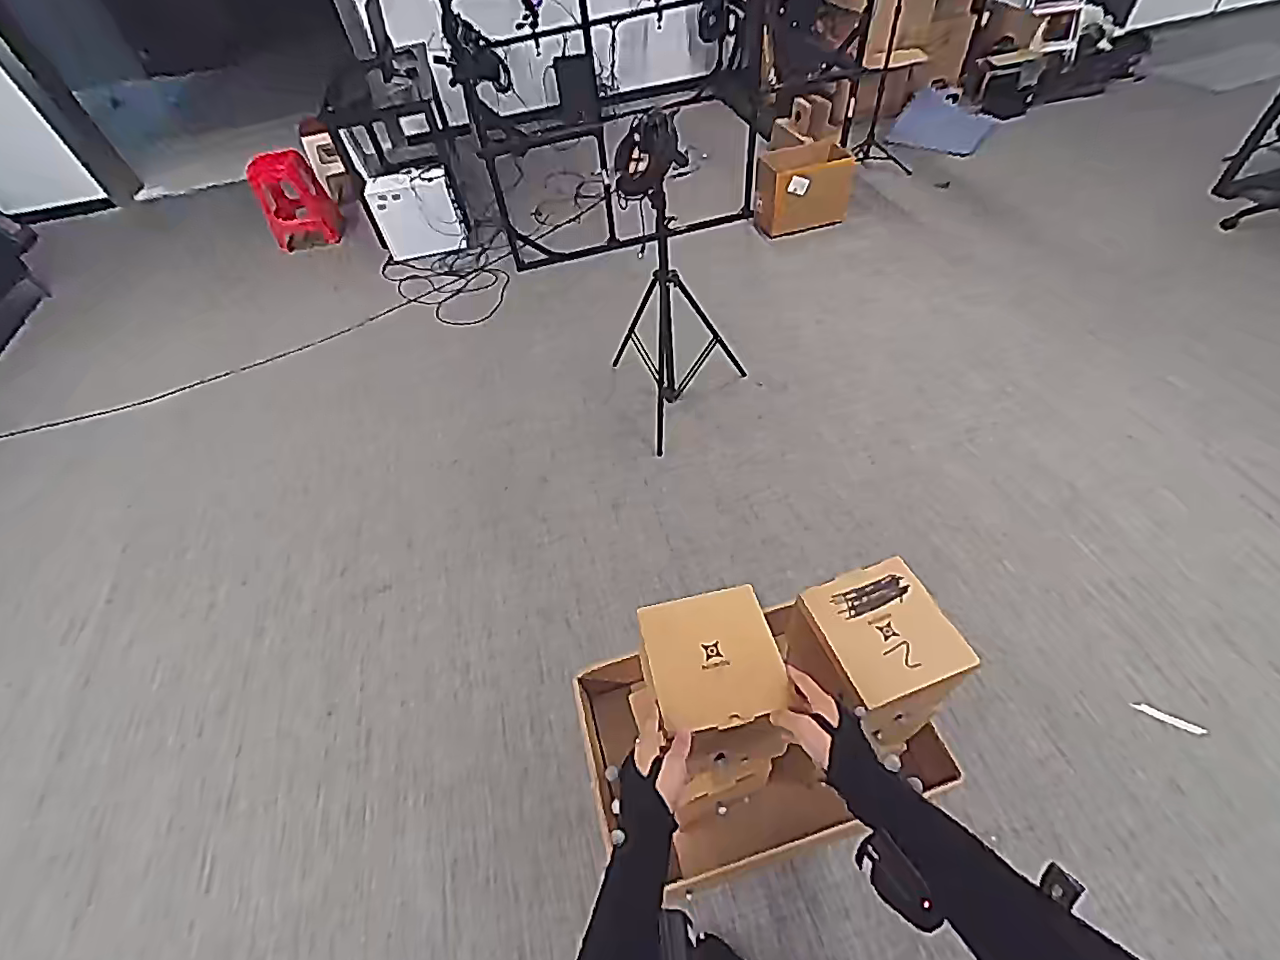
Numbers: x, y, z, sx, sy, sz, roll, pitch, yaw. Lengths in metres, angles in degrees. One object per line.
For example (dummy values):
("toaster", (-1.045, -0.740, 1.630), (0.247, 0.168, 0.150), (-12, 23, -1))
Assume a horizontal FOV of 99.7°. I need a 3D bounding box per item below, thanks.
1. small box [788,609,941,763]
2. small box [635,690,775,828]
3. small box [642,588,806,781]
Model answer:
("small box", (0.362, 0.351, 0.917), (0.168, 0.176, 0.179), (-14, 50, -4))
("small box", (0.099, 0.435, 0.885), (0.168, 0.176, 0.179), (-19, 51, -9))
("small box", (0.100, 0.277, 0.734), (0.168, 0.176, 0.179), (-12, 48, -7))
